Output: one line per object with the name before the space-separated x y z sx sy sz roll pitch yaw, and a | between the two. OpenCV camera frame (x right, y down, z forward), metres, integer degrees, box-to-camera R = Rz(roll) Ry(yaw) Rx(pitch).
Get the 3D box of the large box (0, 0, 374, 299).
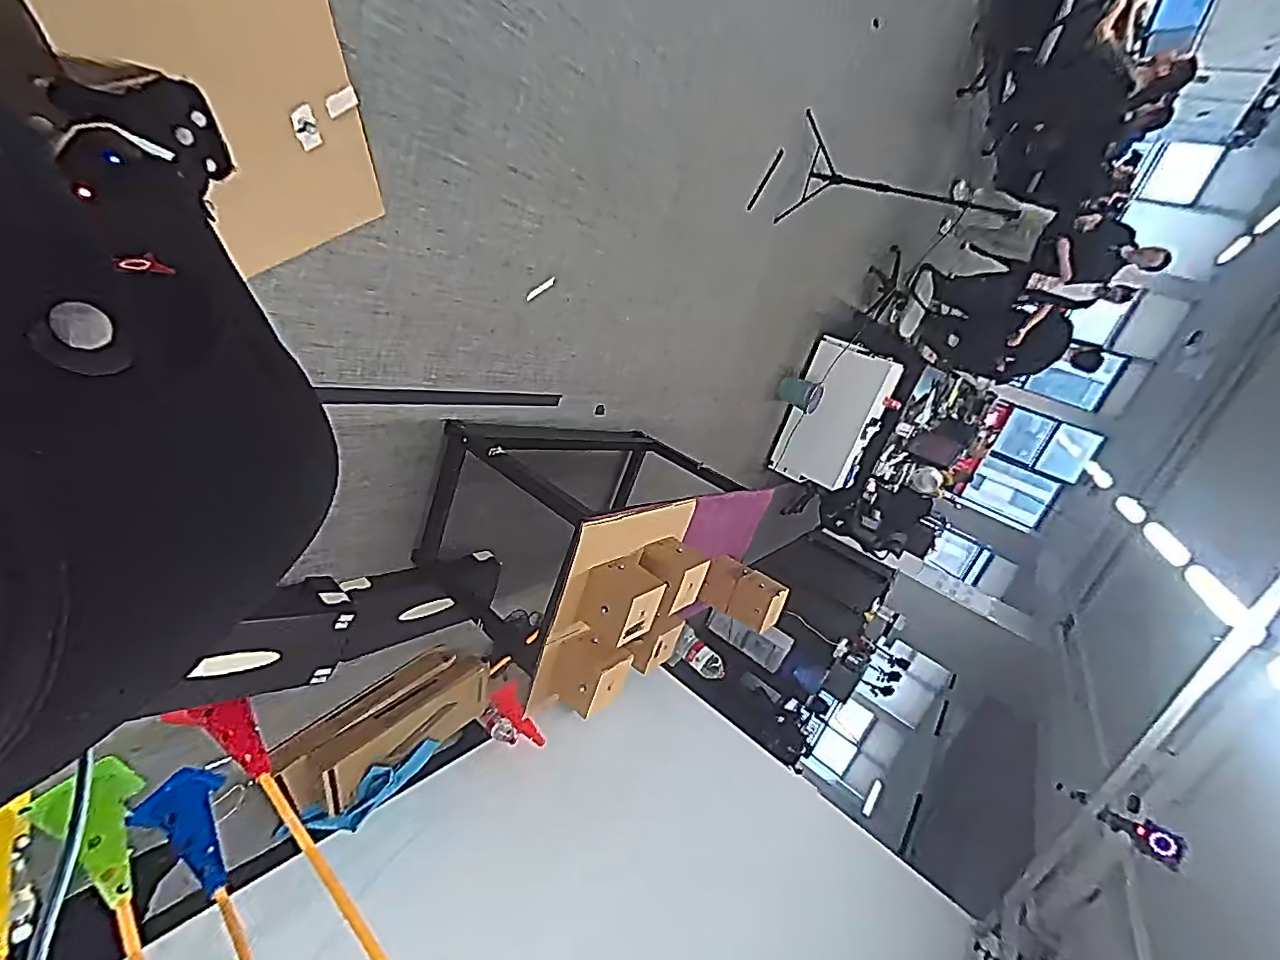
large box | -0.634 -0.480 0.676 0.320 0.408 0.320 -55 160 -40
